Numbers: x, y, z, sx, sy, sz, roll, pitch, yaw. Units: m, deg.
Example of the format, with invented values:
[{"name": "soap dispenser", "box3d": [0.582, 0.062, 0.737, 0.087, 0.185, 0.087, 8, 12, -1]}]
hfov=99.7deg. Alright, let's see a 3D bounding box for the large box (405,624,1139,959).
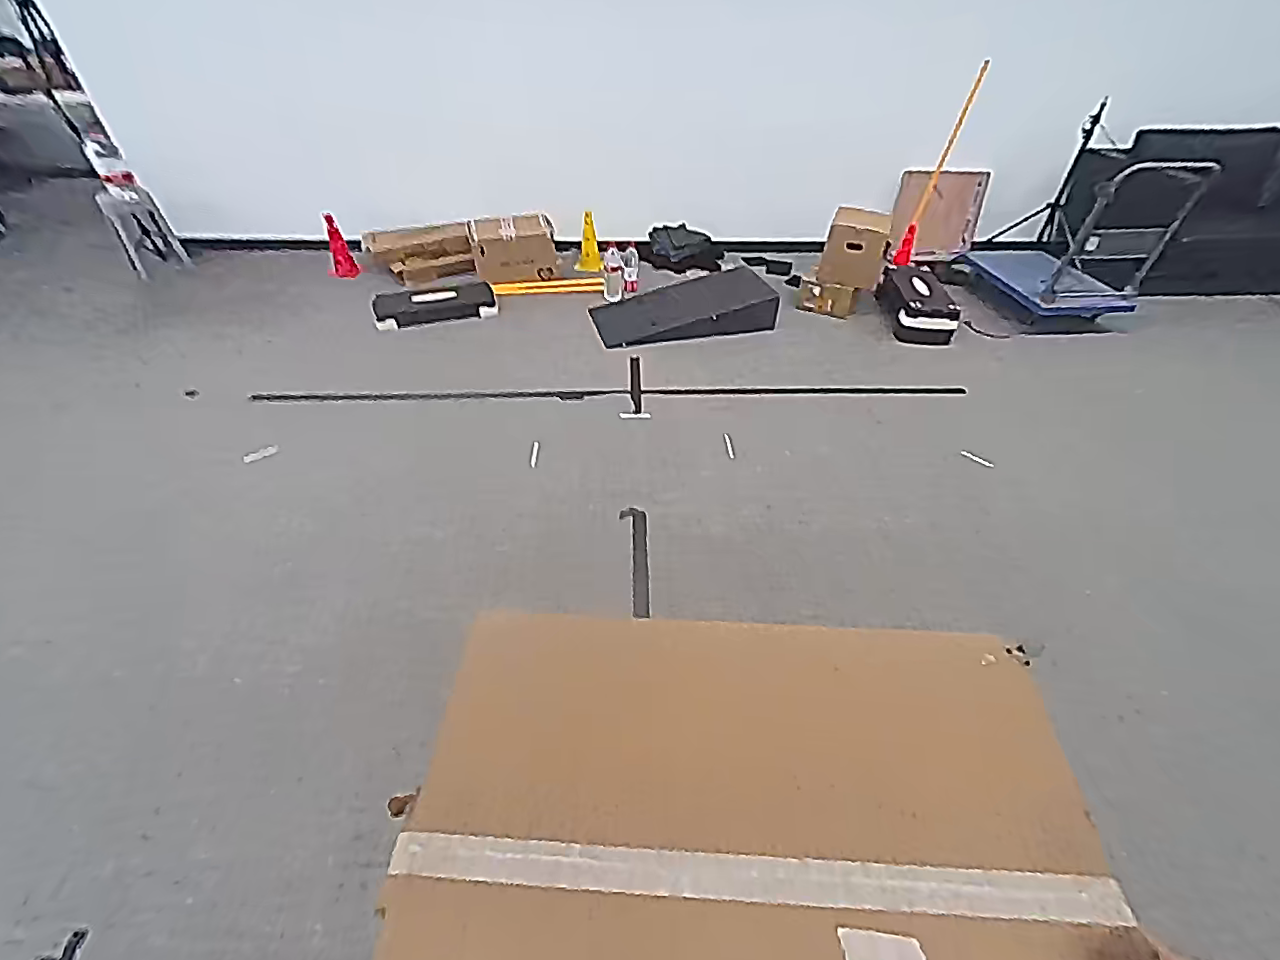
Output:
[{"name": "large box", "box3d": [0.072, 0.331, 0.429, 0.408, 0.320, 0.320, 2, 49, 3]}]
